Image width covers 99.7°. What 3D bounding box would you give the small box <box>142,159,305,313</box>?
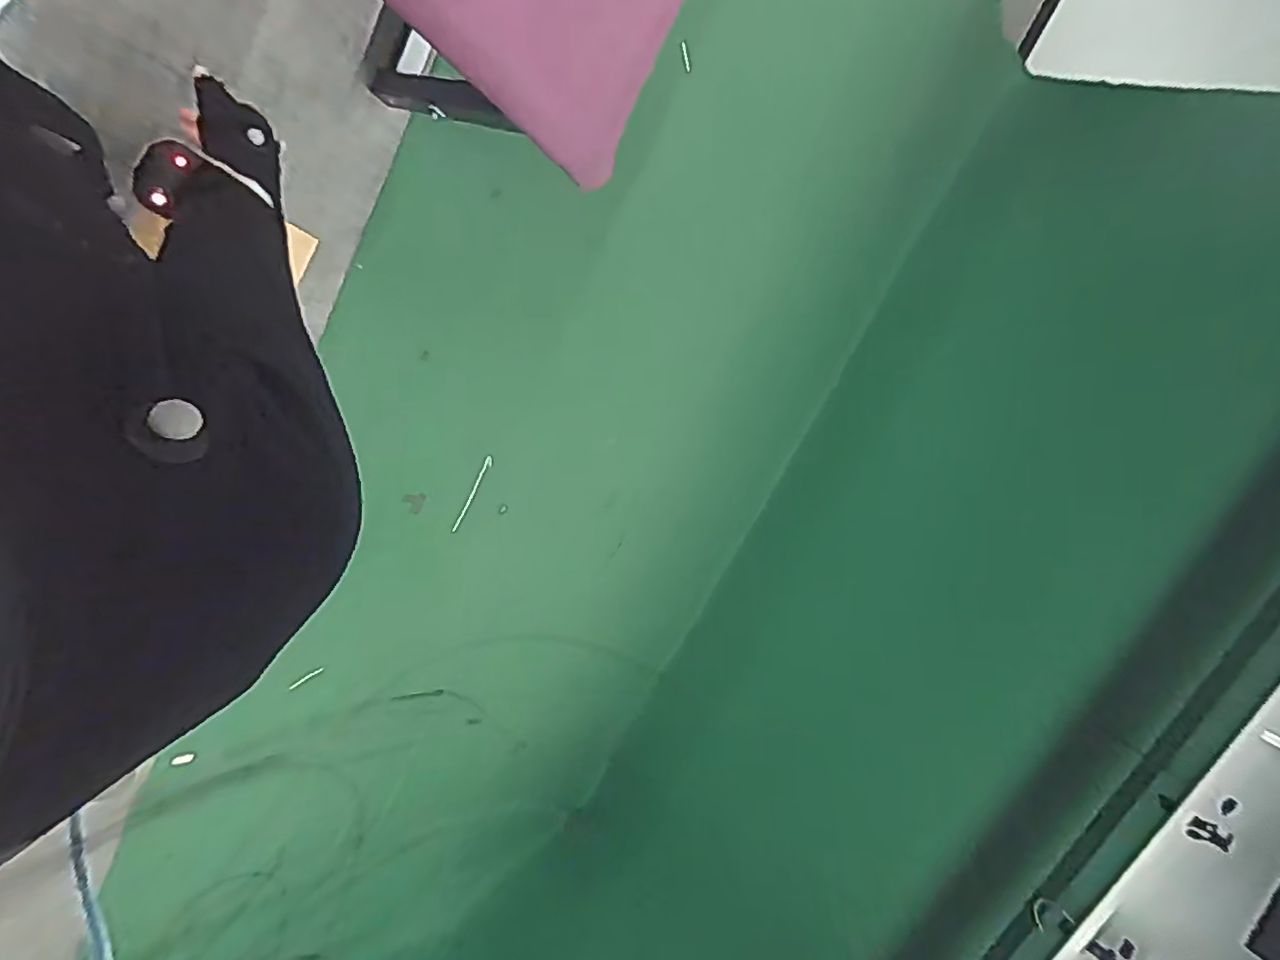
[{"bbox_3d":[-0.747,-0.434,0.965,0.168,0.176,0.179,21,100,-57],"label":"small box"}]
